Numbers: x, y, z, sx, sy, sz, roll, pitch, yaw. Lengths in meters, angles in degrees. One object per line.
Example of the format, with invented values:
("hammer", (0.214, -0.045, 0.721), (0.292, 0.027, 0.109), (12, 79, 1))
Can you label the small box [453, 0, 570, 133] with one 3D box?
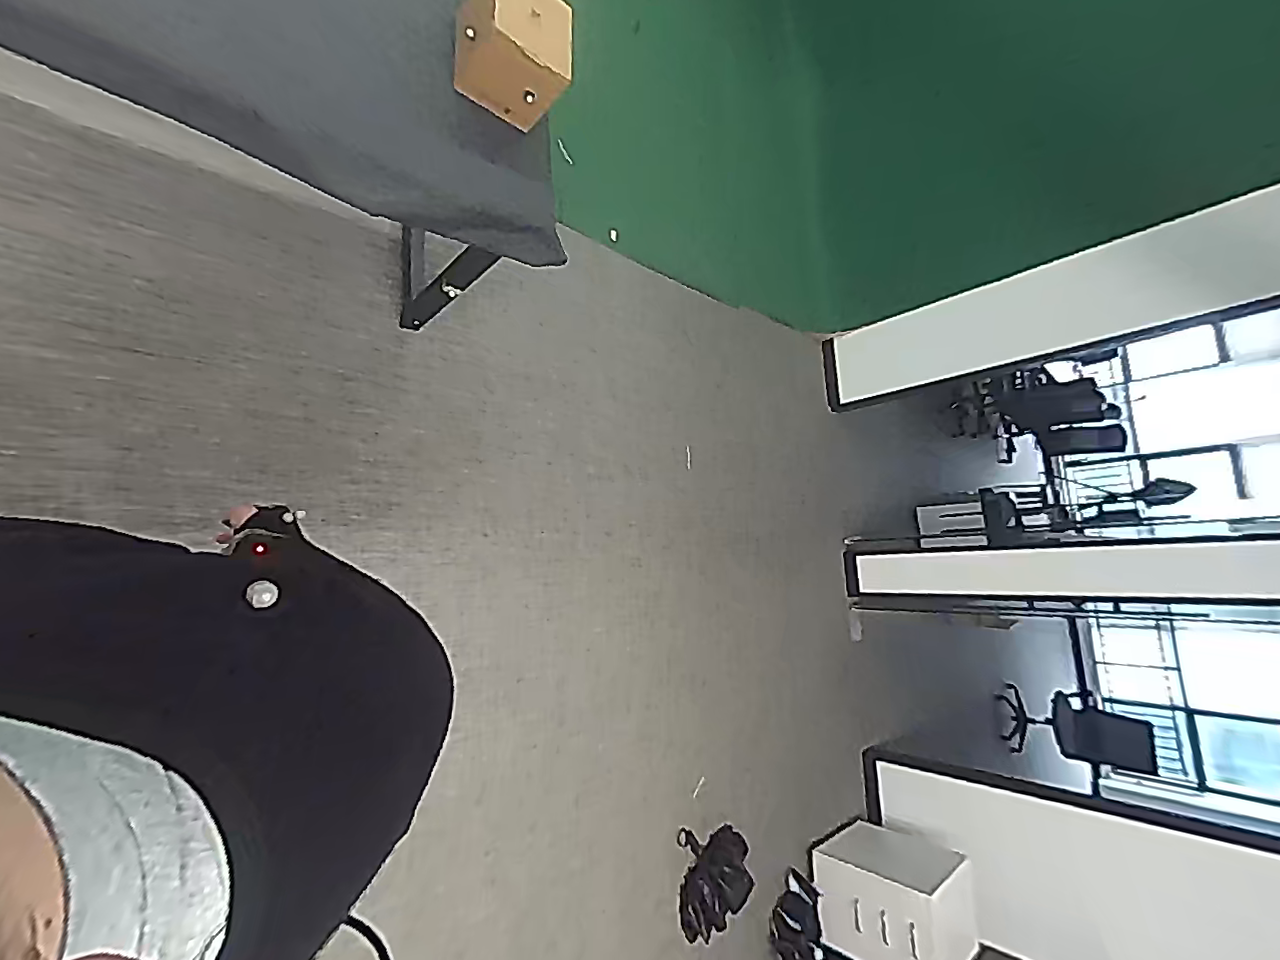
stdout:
("small box", (-0.252, -0.835, 1.057), (0.168, 0.176, 0.179), (8, 75, -44))
